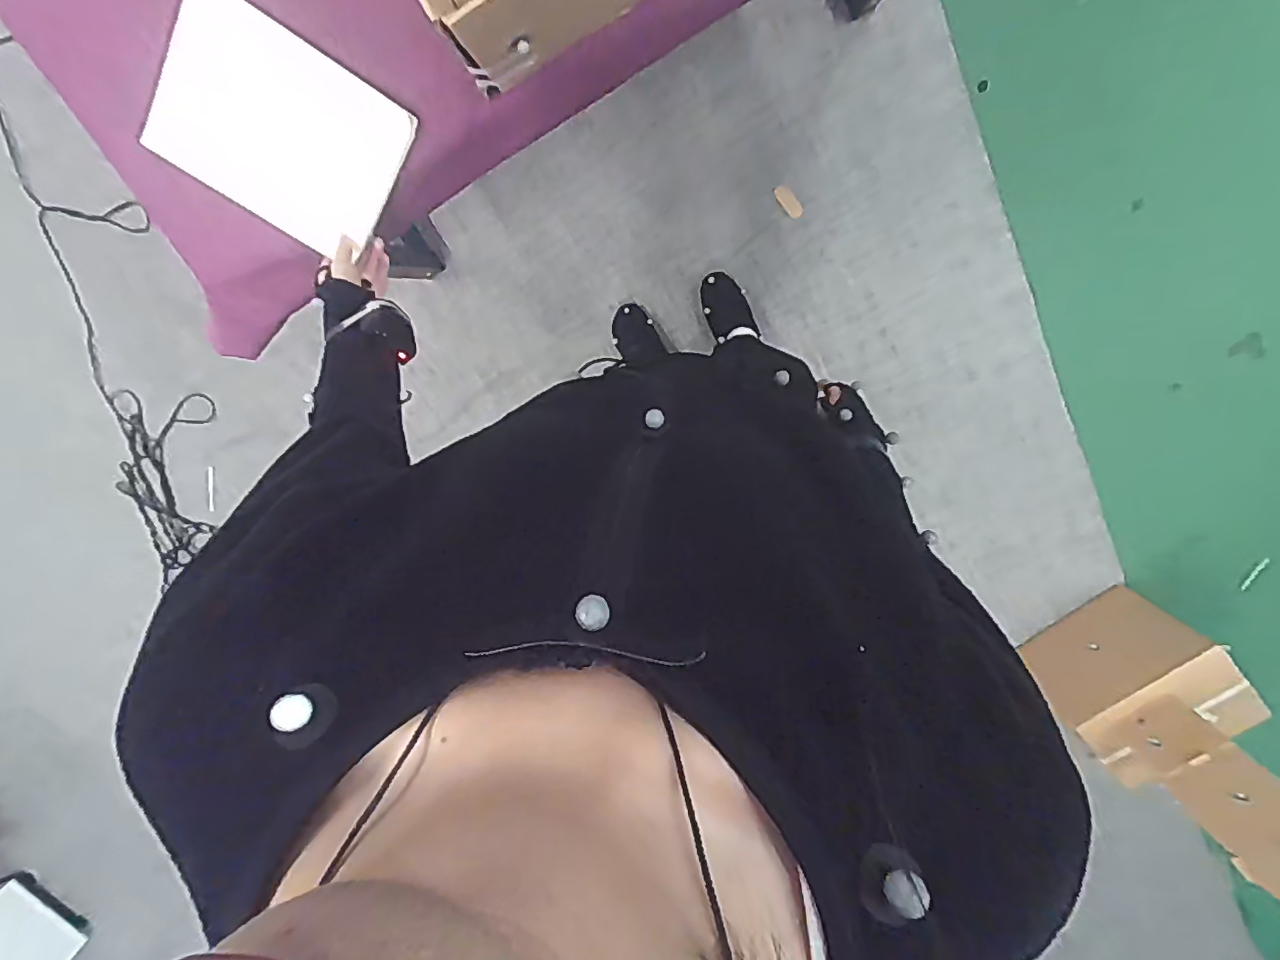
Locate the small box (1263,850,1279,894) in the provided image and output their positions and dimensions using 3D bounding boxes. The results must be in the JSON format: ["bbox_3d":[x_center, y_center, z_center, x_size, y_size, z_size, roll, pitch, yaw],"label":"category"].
[{"bbox_3d":[1.364,0.809,1.026,0.179,0.176,0.168,-42,103,15],"label":"small box"}]

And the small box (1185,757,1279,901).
[{"bbox_3d":[1.364,0.757,1.181,0.179,0.176,0.168,-43,103,13],"label":"small box"}]

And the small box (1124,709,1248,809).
[{"bbox_3d":[1.368,0.700,1.335,0.168,0.176,0.179,-41,103,14],"label":"small box"}]

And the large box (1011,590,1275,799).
[{"bbox_3d":[1.411,0.604,1.559,0.408,0.320,0.320,-43,104,12],"label":"large box"}]
